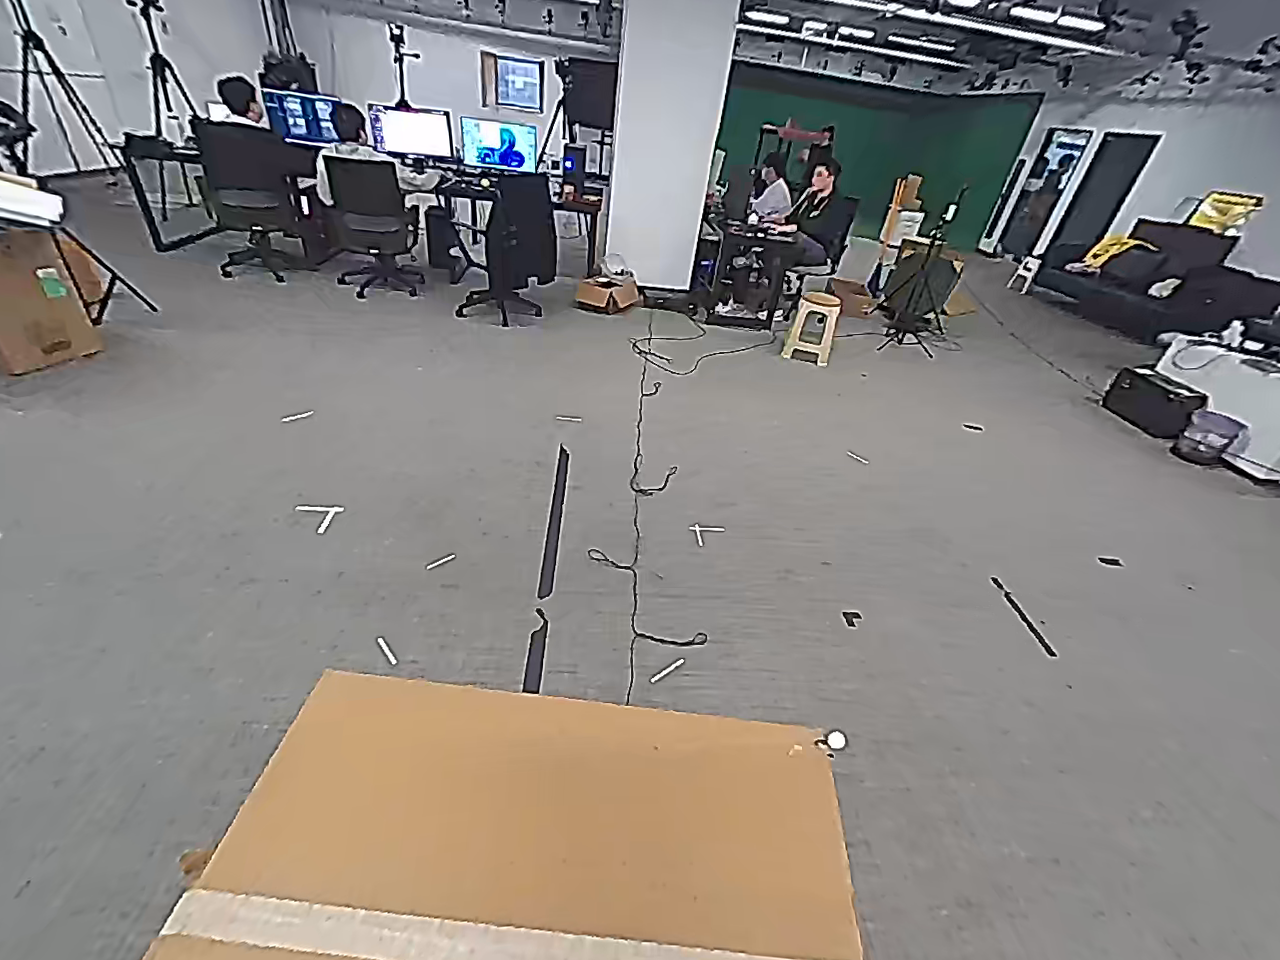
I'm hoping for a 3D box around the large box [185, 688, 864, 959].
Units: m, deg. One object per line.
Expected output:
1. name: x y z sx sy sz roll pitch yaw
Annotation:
1. large box: -0.075 0.398 0.414 0.408 0.320 0.320 7 40 0
